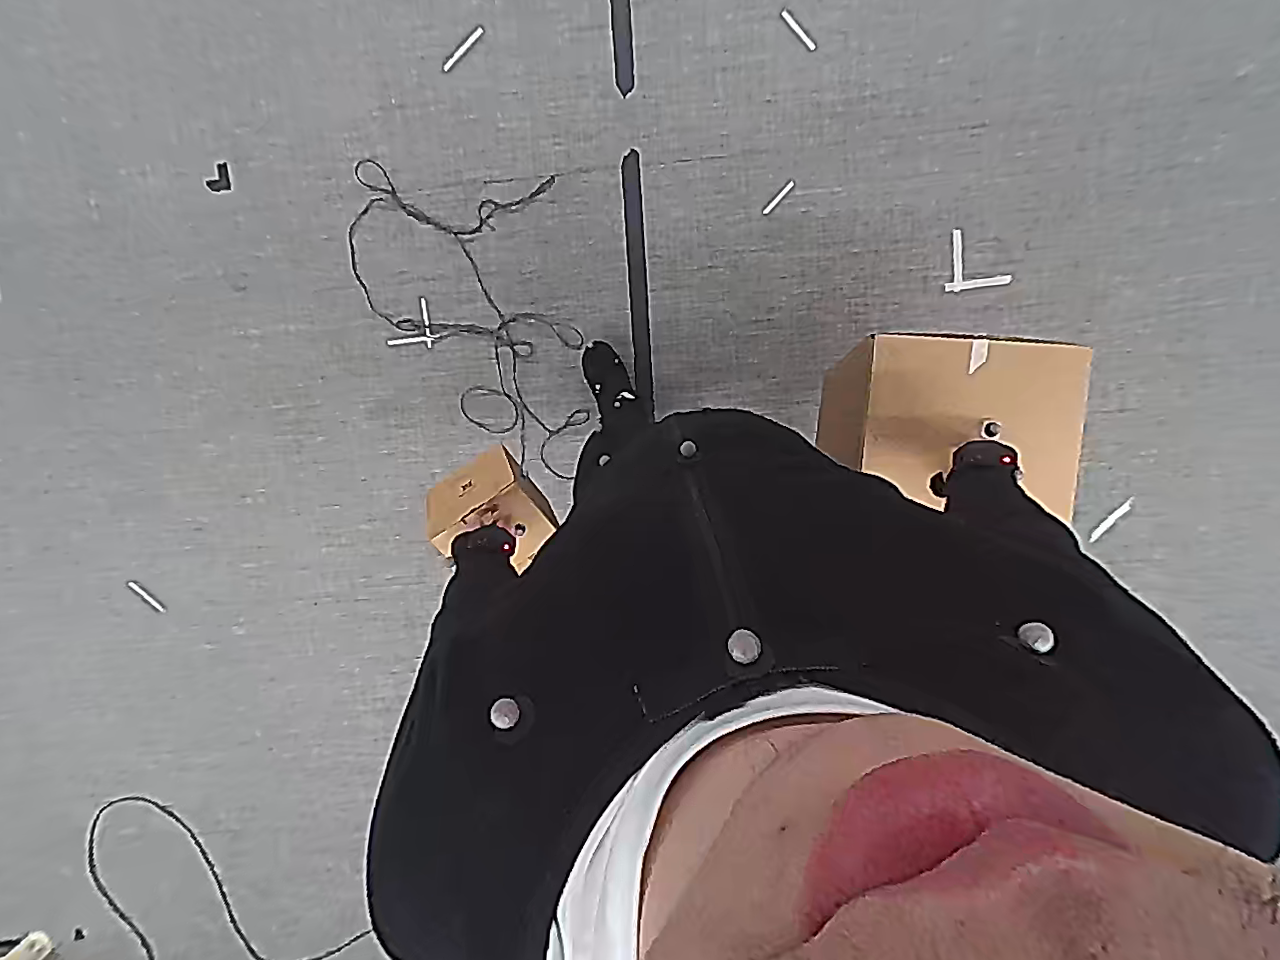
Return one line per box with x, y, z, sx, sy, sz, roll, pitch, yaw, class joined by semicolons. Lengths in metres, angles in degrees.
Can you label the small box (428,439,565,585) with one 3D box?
-0.258;0.063;0.976;0.168;0.179;0.176;-35;125;-3;small box
